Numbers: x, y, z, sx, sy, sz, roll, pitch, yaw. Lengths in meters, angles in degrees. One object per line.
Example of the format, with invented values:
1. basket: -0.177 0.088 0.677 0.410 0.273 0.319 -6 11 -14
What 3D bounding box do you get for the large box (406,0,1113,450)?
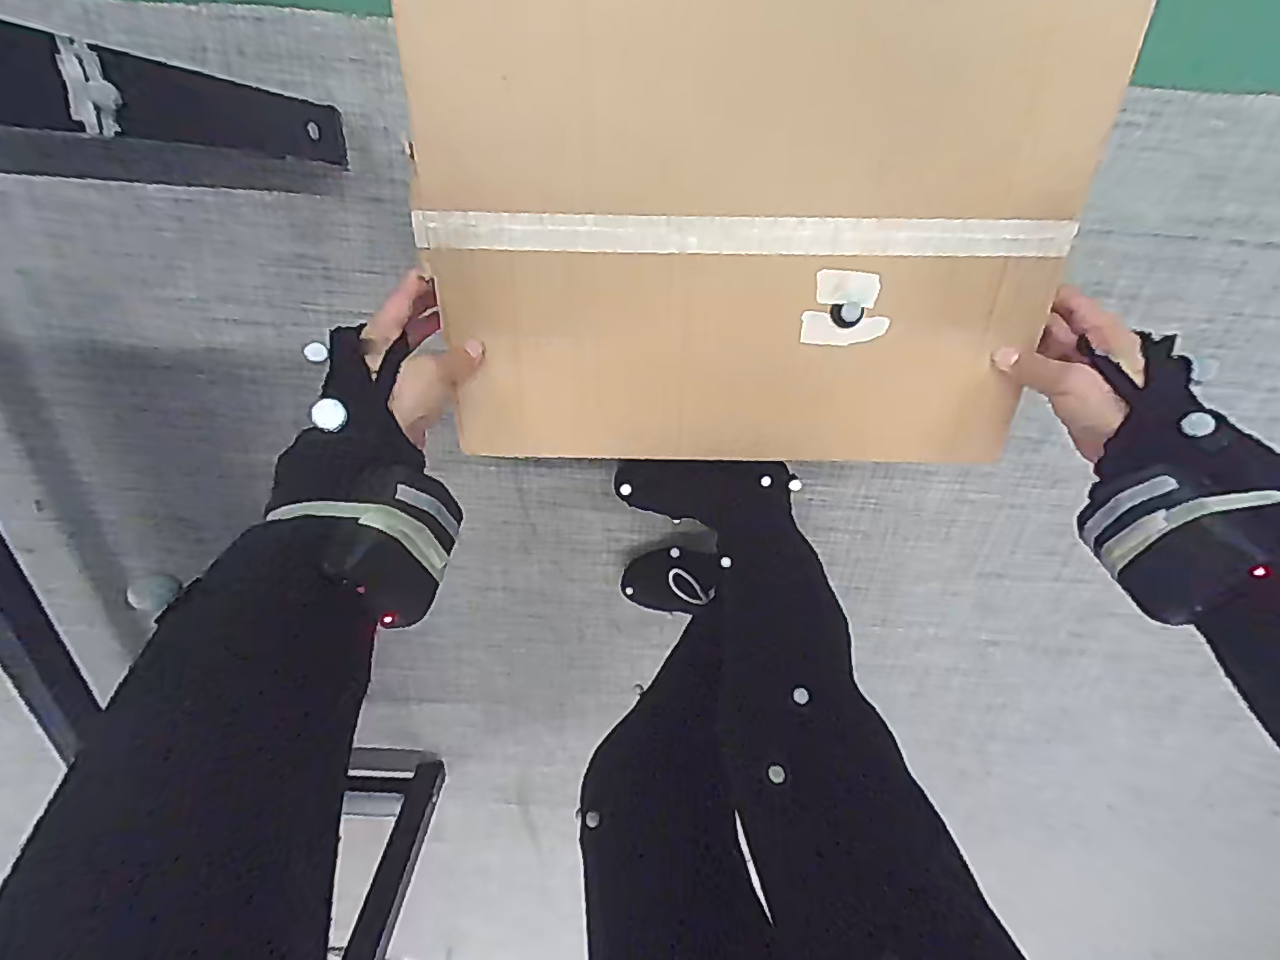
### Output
1. large box: 0.065 -0.230 0.486 0.408 0.320 0.320 0 117 -1
